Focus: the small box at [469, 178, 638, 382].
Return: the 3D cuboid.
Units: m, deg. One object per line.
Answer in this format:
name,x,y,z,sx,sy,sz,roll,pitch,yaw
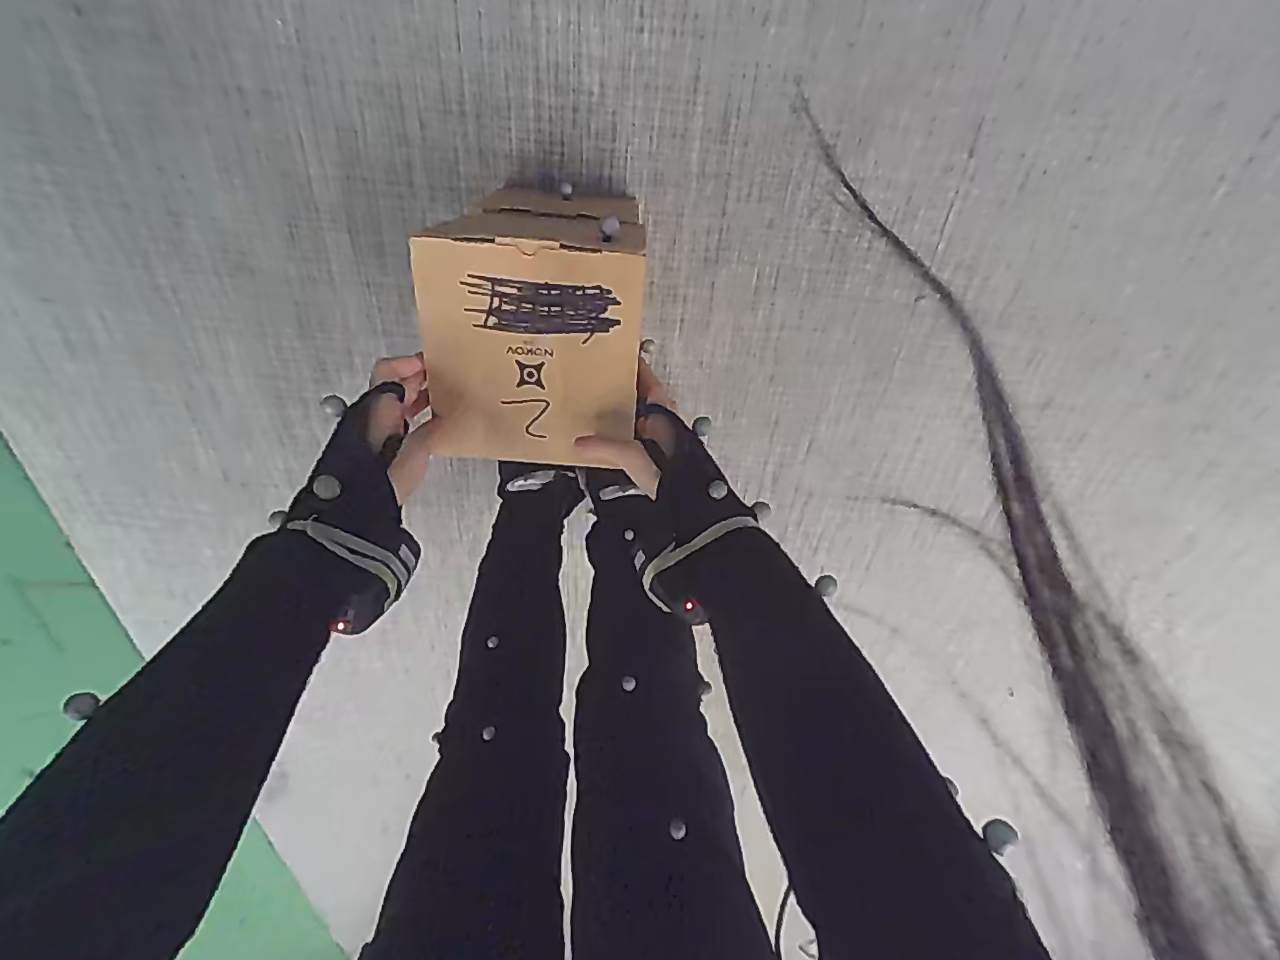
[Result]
small box,-0.092,-0.235,0.632,0.168,0.176,0.179,4,126,-5
